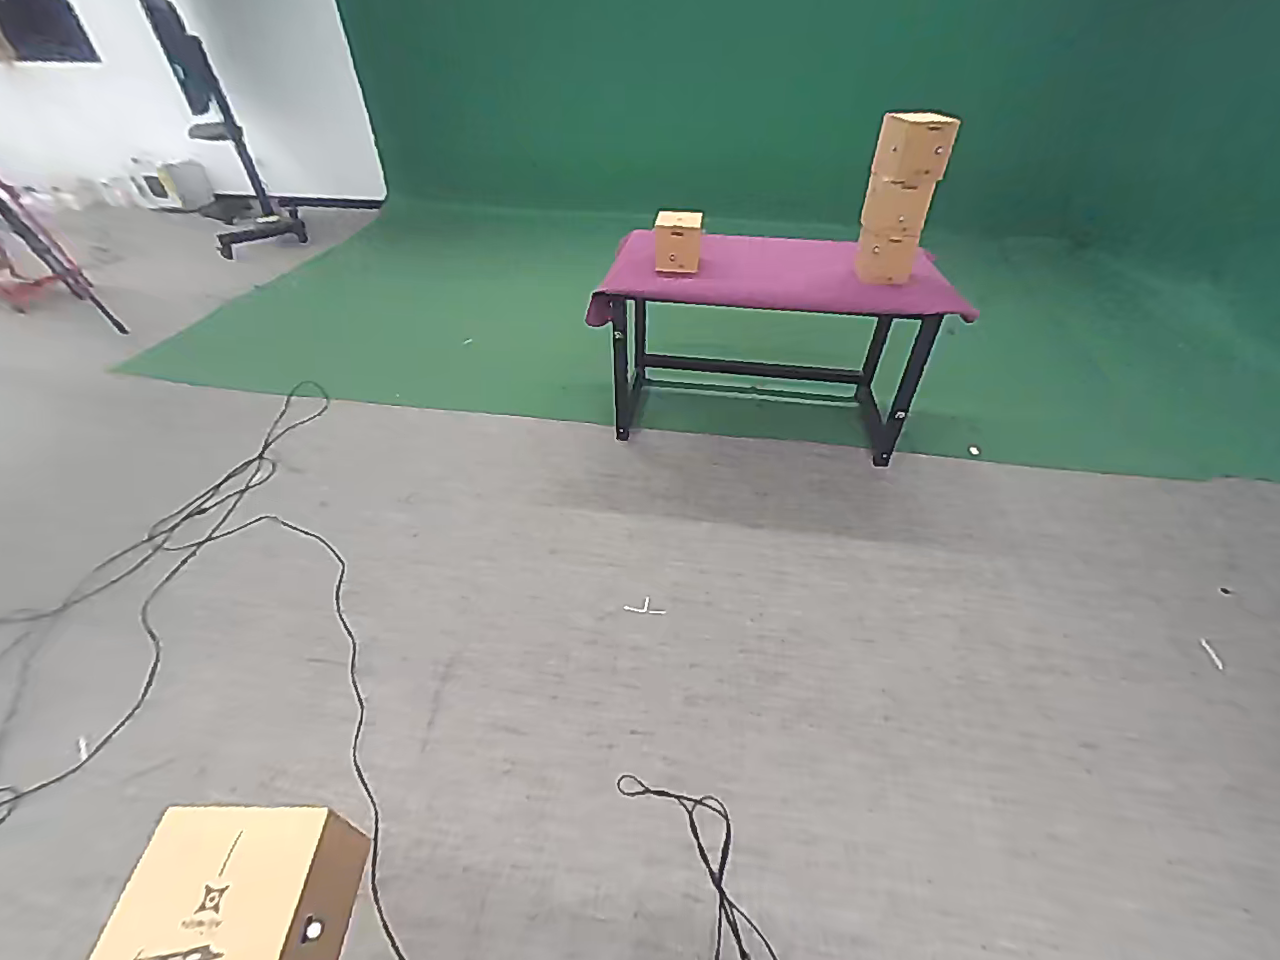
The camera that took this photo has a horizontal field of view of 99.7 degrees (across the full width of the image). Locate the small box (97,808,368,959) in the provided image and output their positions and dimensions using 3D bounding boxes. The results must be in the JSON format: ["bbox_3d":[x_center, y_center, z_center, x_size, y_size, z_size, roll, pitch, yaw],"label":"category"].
[{"bbox_3d":[-0.417,0.470,0.576,0.168,0.176,0.179,3,46,-4],"label":"small box"}]

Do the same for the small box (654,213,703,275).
[{"bbox_3d":[0.144,-0.897,2.052,0.168,0.176,0.179,5,43,5],"label":"small box"}]

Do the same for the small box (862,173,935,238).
[{"bbox_3d":[0.878,-0.947,1.857,0.168,0.176,0.179,4,41,5],"label":"small box"}]

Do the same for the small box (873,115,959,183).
[{"bbox_3d":[0.884,-1.070,1.751,0.168,0.176,0.179,-3,40,-4],"label":"small box"}]
